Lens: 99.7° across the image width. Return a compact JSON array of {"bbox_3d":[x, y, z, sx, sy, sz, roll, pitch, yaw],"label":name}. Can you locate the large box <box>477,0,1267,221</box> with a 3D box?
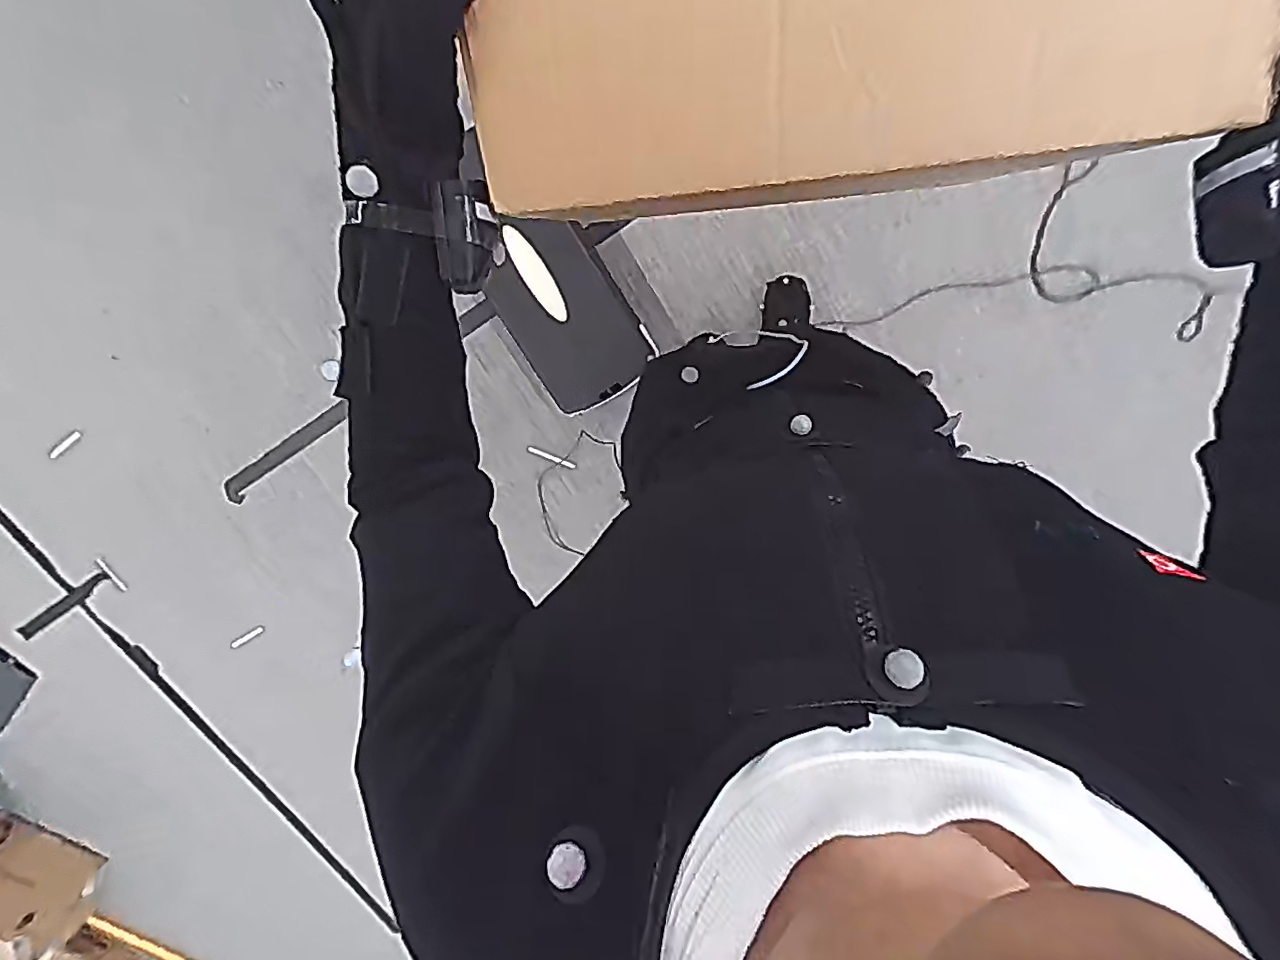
[{"bbox_3d":[0.111,-0.383,0.383,0.408,0.320,0.320,-4,115,7],"label":"large box"}]
